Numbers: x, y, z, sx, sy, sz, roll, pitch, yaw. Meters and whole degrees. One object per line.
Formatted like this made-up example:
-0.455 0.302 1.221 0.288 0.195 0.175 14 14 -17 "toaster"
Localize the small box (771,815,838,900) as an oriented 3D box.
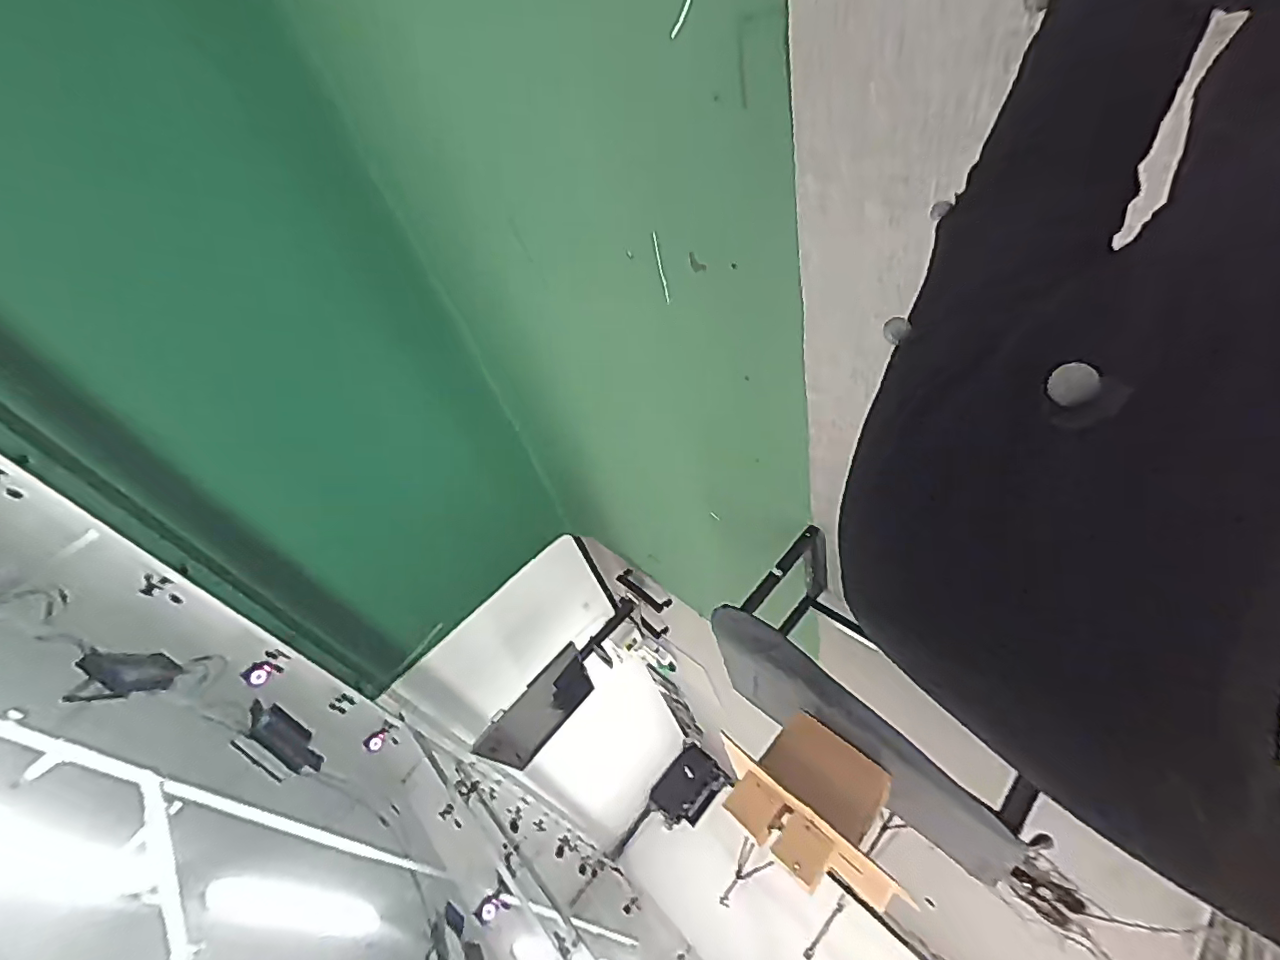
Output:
0.586 1.334 1.914 0.168 0.176 0.179 27 150 38 "small box"
